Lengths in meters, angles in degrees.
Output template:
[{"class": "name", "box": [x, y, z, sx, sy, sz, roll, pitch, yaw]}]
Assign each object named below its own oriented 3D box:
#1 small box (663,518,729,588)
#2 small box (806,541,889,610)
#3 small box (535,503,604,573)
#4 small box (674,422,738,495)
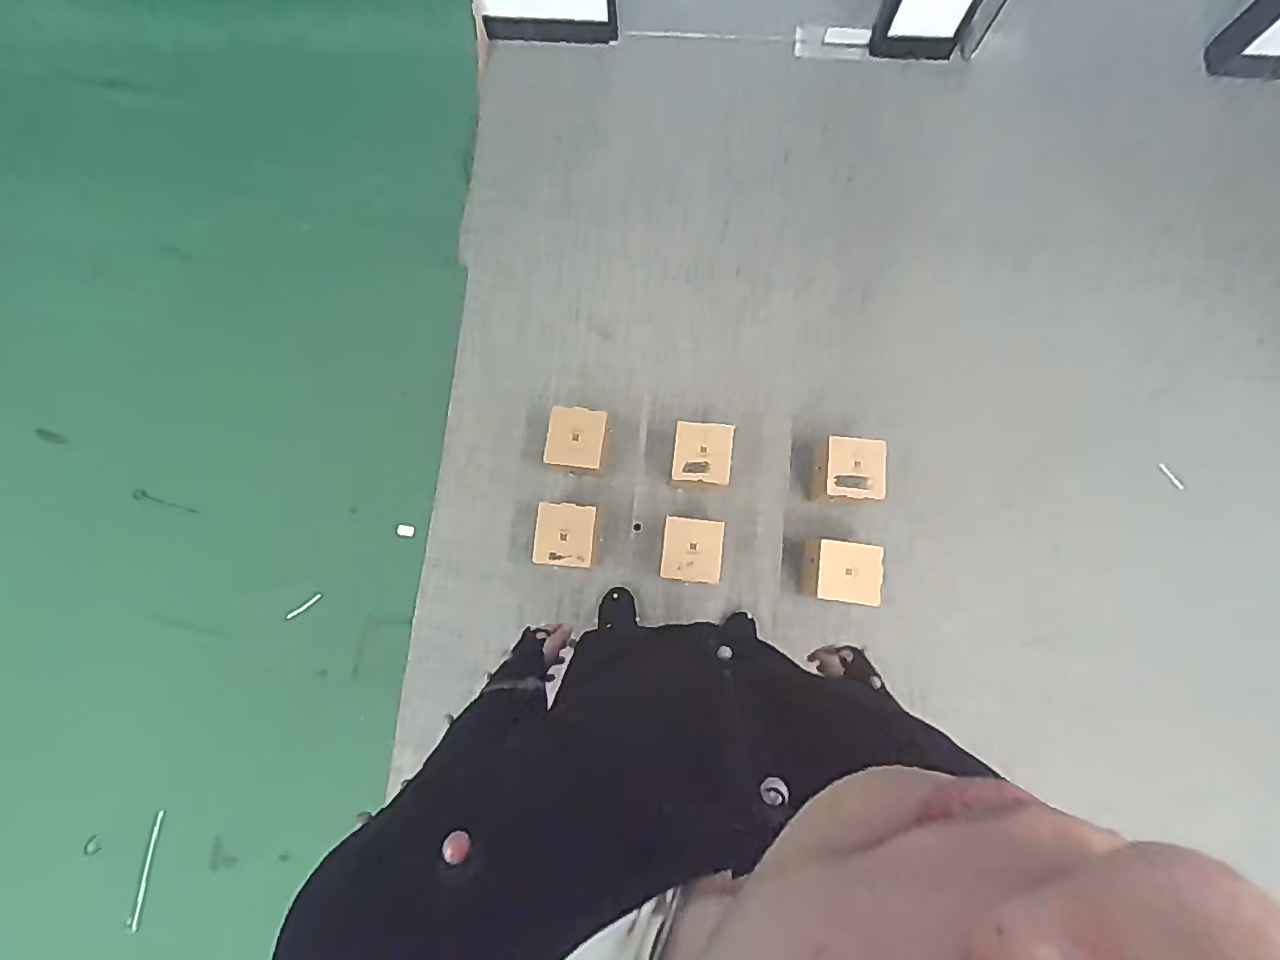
[{"class": "small box", "box": [0.156, 0.213, 1.562, 0.168, 0.176, 0.179, 7, 80, 3]}, {"class": "small box", "box": [0.586, 0.274, 1.543, 0.179, 0.176, 0.168, 7, 80, 2]}, {"class": "small box", "box": [-0.200, 0.173, 1.577, 0.168, 0.176, 0.179, 5, 79, 3]}, {"class": "small box", "box": [0.191, -0.058, 1.610, 0.168, 0.176, 0.179, 7, 79, 2]}]
